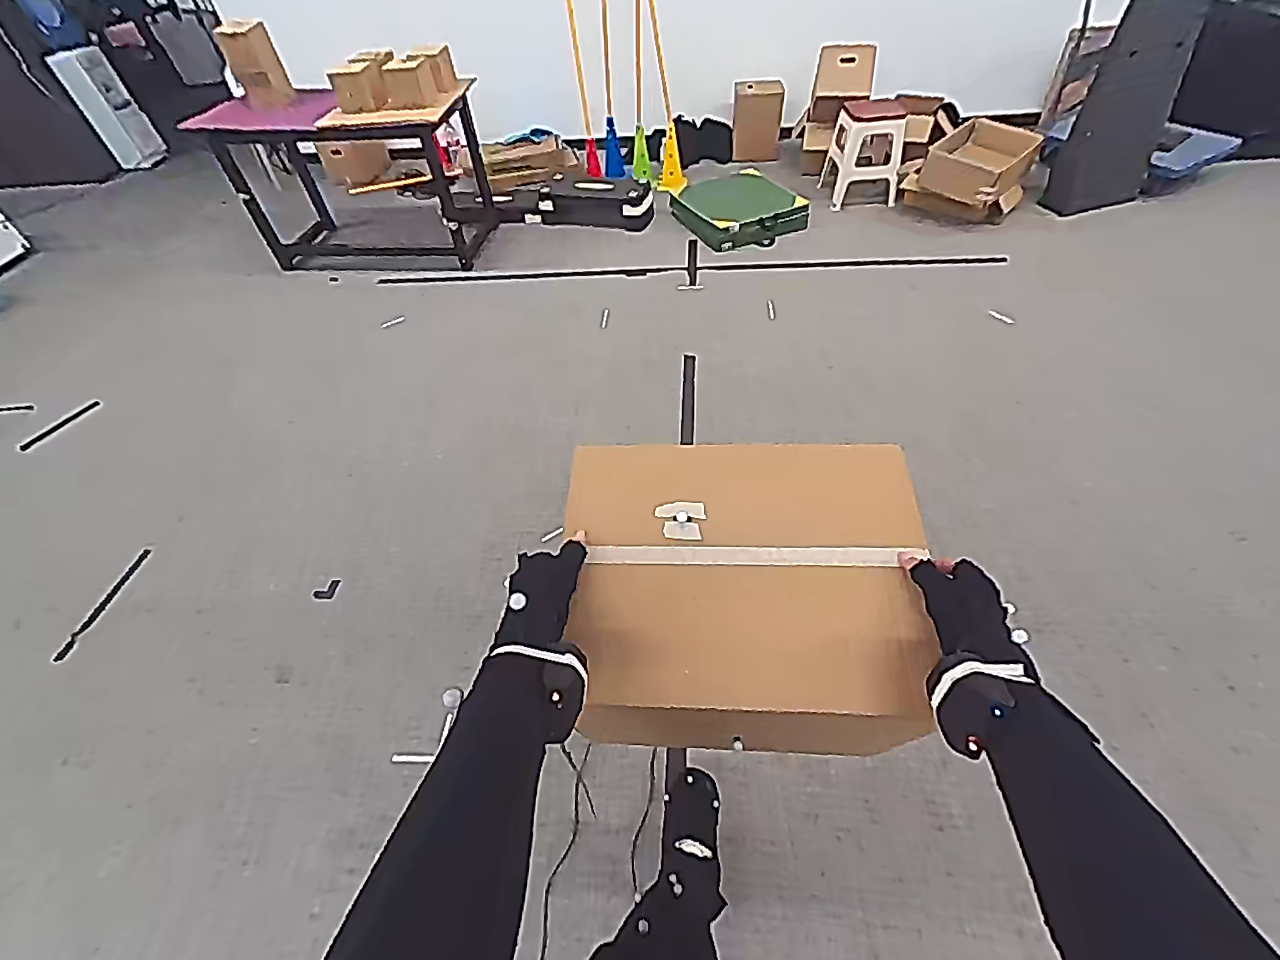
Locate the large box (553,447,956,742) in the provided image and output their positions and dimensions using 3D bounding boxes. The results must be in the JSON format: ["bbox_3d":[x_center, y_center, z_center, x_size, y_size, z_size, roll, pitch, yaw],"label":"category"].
[{"bbox_3d":[0.126,0.171,0.738,0.408,0.320,0.320,0,56,5],"label":"large box"}]
